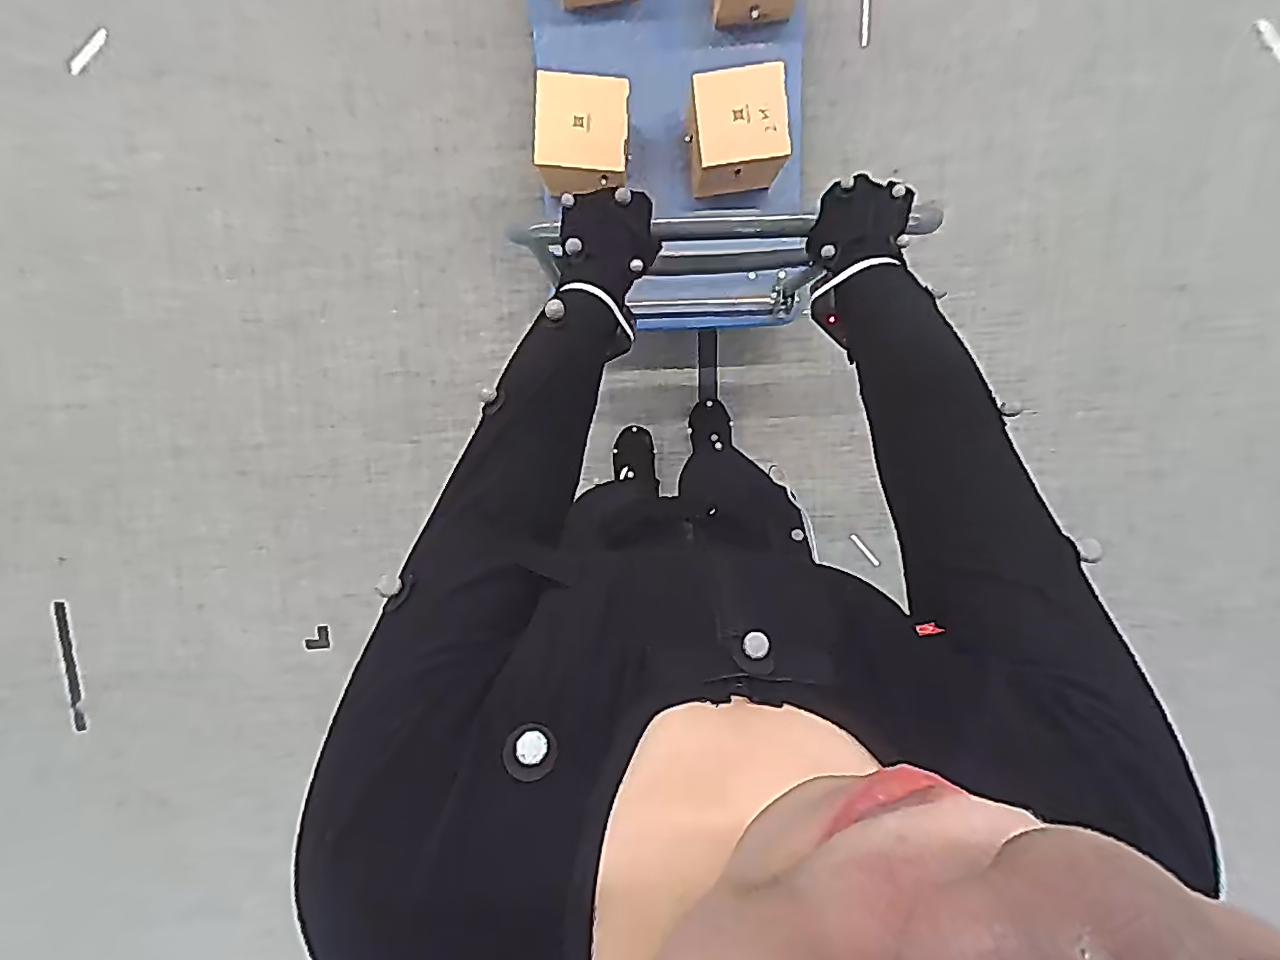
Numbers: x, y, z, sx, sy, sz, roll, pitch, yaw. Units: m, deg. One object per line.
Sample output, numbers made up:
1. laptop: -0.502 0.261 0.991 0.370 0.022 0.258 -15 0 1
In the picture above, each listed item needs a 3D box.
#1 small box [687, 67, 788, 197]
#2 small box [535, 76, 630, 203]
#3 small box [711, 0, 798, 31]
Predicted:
1. small box: 0.193 -0.703 1.114 0.179 0.176 0.168 -8 100 1
2. small box: -0.113 -0.689 1.113 0.179 0.176 0.168 3 99 -3
3. small box: 0.229 -1.036 1.059 0.168 0.176 0.179 -6 101 0
